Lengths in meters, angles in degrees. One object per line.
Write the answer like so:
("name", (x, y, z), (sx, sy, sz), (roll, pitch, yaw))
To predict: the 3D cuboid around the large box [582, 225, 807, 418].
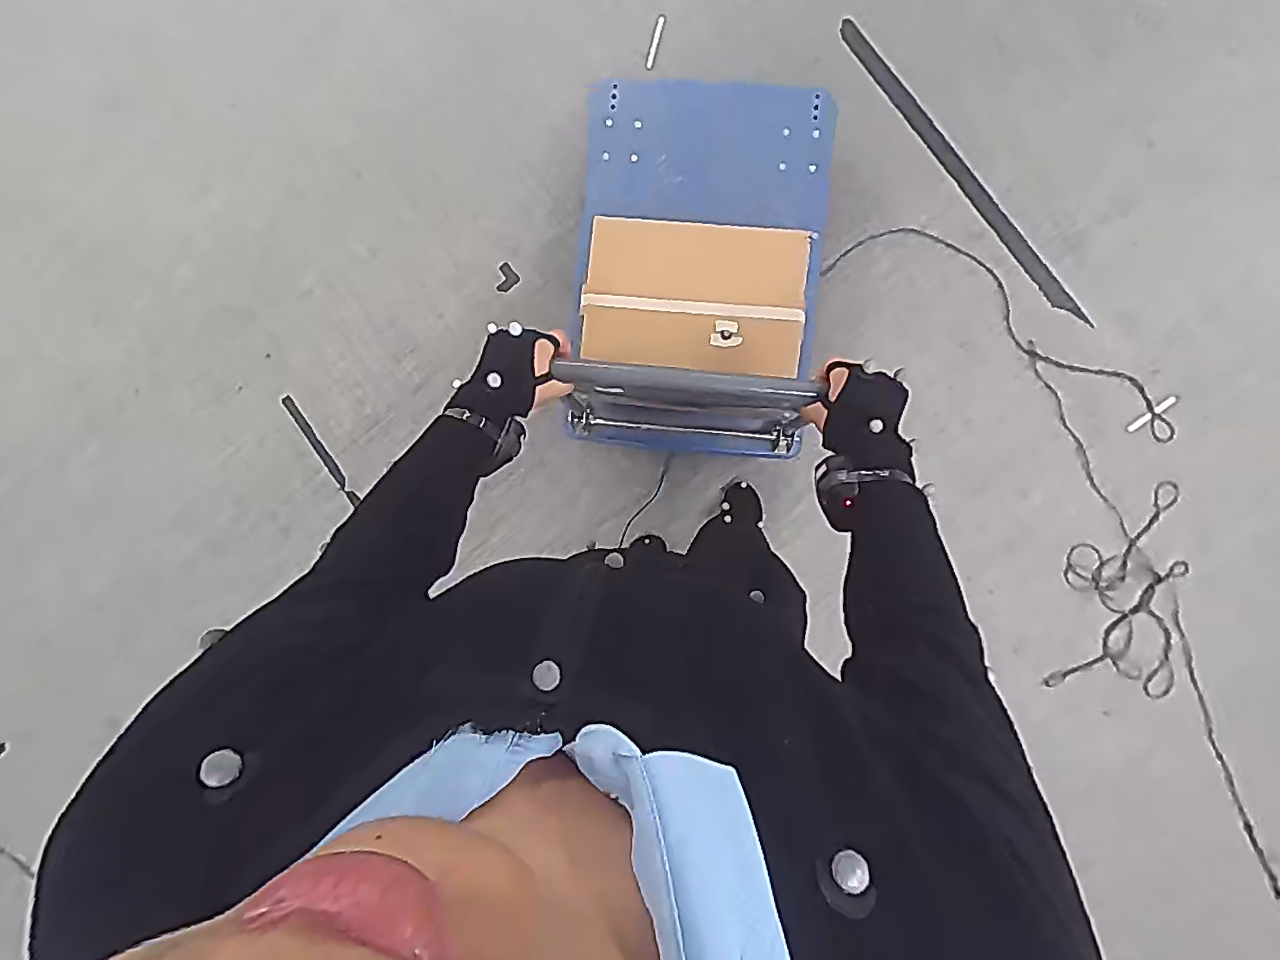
("large box", (0.104, -0.312, 1.154), (0.408, 0.320, 0.320), (6, 92, 3))
